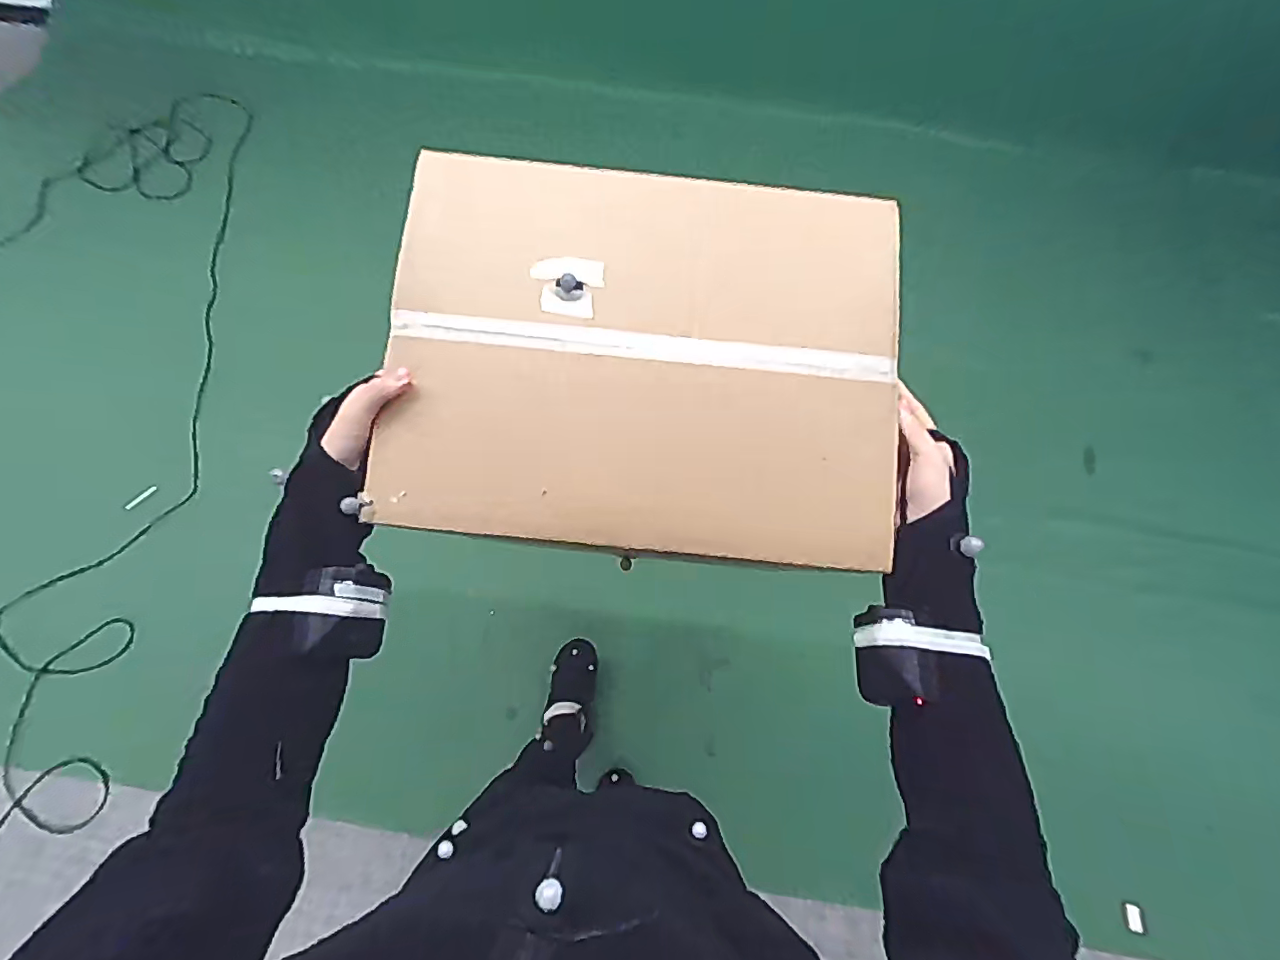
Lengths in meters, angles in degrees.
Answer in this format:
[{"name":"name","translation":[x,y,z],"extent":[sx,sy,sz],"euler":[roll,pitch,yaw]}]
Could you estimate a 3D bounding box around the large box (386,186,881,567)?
[{"name":"large box","translation":[0.004,-0.074,0.603],"extent":[0.408,0.320,0.320],"euler":[5,80,0]}]
